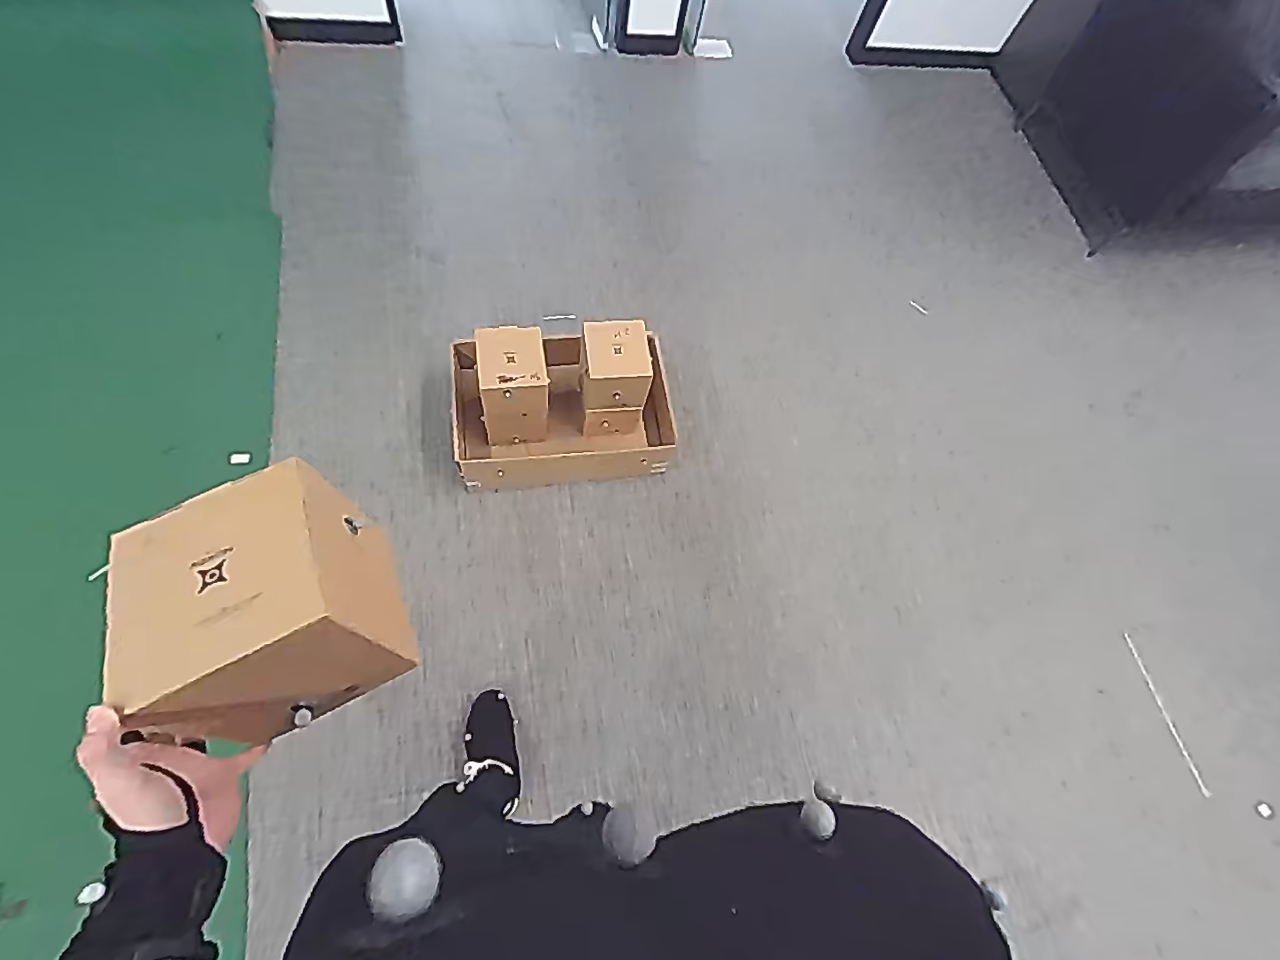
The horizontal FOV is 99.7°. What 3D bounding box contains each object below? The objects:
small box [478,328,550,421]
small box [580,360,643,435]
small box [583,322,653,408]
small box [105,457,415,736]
[{"bbox_3d":[-0.329,-0.273,1.413,0.168,0.176,0.179,-6,70,-12],"label":"small box"},{"bbox_3d":[-0.090,-0.244,1.624,0.168,0.176,0.179,-5,69,-10],"label":"small box"},{"bbox_3d":[-0.066,-0.307,1.473,0.168,0.176,0.179,-4,69,-10],"label":"small box"},{"bbox_3d":[-0.344,0.116,0.516,0.168,0.176,0.179,-26,59,-10],"label":"small box"}]
